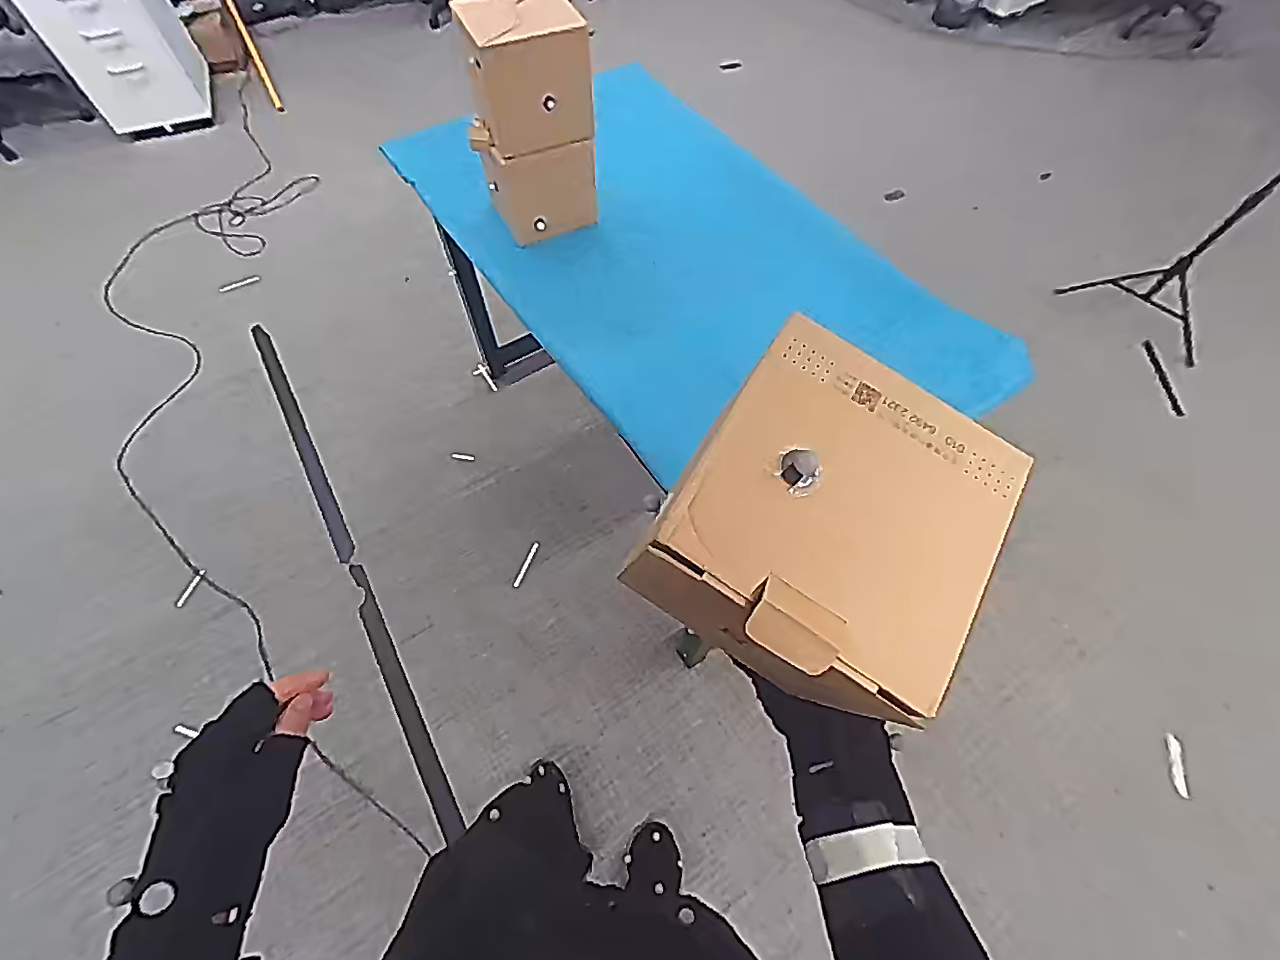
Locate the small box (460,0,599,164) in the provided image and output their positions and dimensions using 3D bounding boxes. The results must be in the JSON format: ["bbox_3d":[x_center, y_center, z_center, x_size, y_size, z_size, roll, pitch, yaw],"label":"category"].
[{"bbox_3d":[-0.185,-0.680,0.918,0.179,0.176,0.168,-22,64,-11],"label":"small box"}]

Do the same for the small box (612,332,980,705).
[{"bbox_3d":[0.101,0.031,0.383,0.168,0.179,0.176,34,71,1],"label":"small box"}]

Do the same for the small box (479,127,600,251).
[{"bbox_3d":[-0.194,-0.589,1.055,0.179,0.176,0.168,-25,65,-14],"label":"small box"}]
